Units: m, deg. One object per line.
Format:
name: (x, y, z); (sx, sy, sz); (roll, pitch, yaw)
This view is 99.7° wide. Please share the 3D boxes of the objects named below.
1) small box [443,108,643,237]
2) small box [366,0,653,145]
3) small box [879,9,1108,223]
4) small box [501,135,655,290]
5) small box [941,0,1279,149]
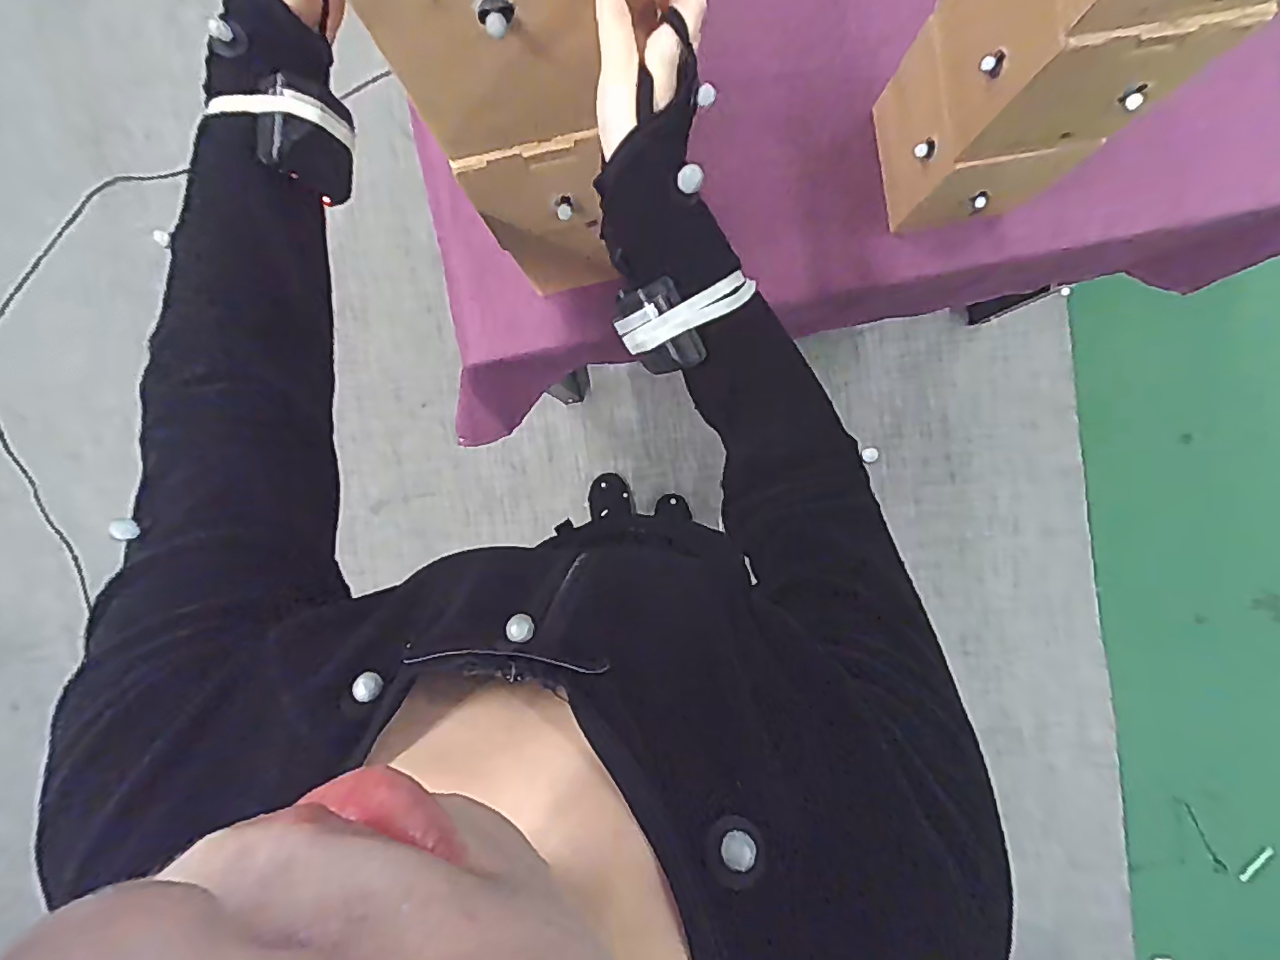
small box: (-0.092, -0.359, 0.525); (0.168, 0.176, 0.179); (-12, 91, 2)
small box: (-0.090, -0.361, 0.360); (0.179, 0.176, 0.168); (-12, 90, 1)
small box: (0.415, -0.438, 0.664); (0.168, 0.176, 0.179); (-9, 91, 2)
small box: (-0.081, -0.360, 0.689); (0.179, 0.176, 0.168); (-12, 91, 2)
small box: (0.408, -0.438, 0.501); (0.168, 0.176, 0.179); (-7, 91, 2)
